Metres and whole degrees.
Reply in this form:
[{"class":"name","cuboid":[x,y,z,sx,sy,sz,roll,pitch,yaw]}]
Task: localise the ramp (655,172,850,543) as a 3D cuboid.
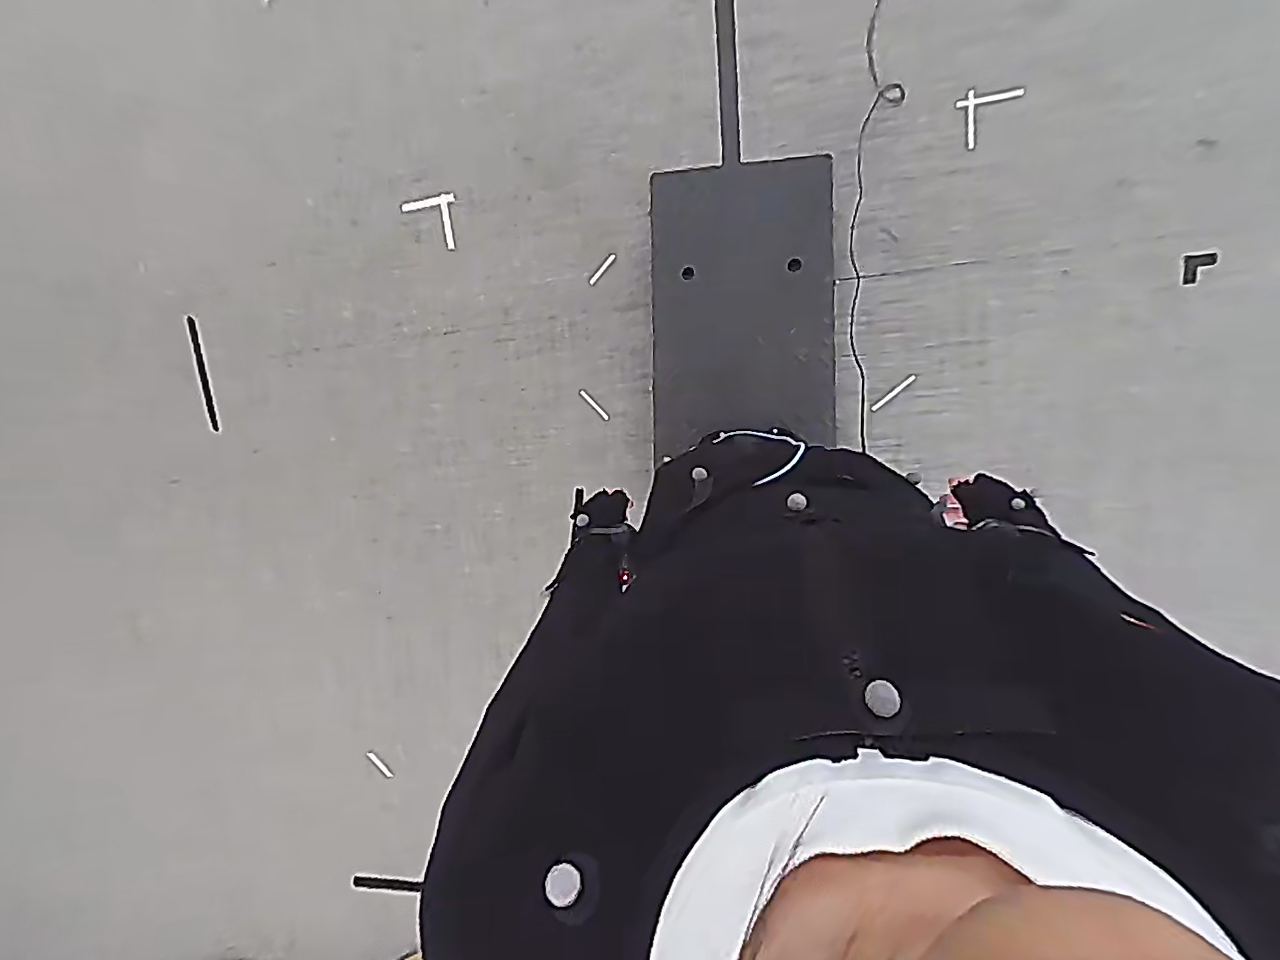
[{"class":"ramp","cuboid":[0.295,-0.330,1.490,0.509,0.206,0.991,-4,97,12]}]
